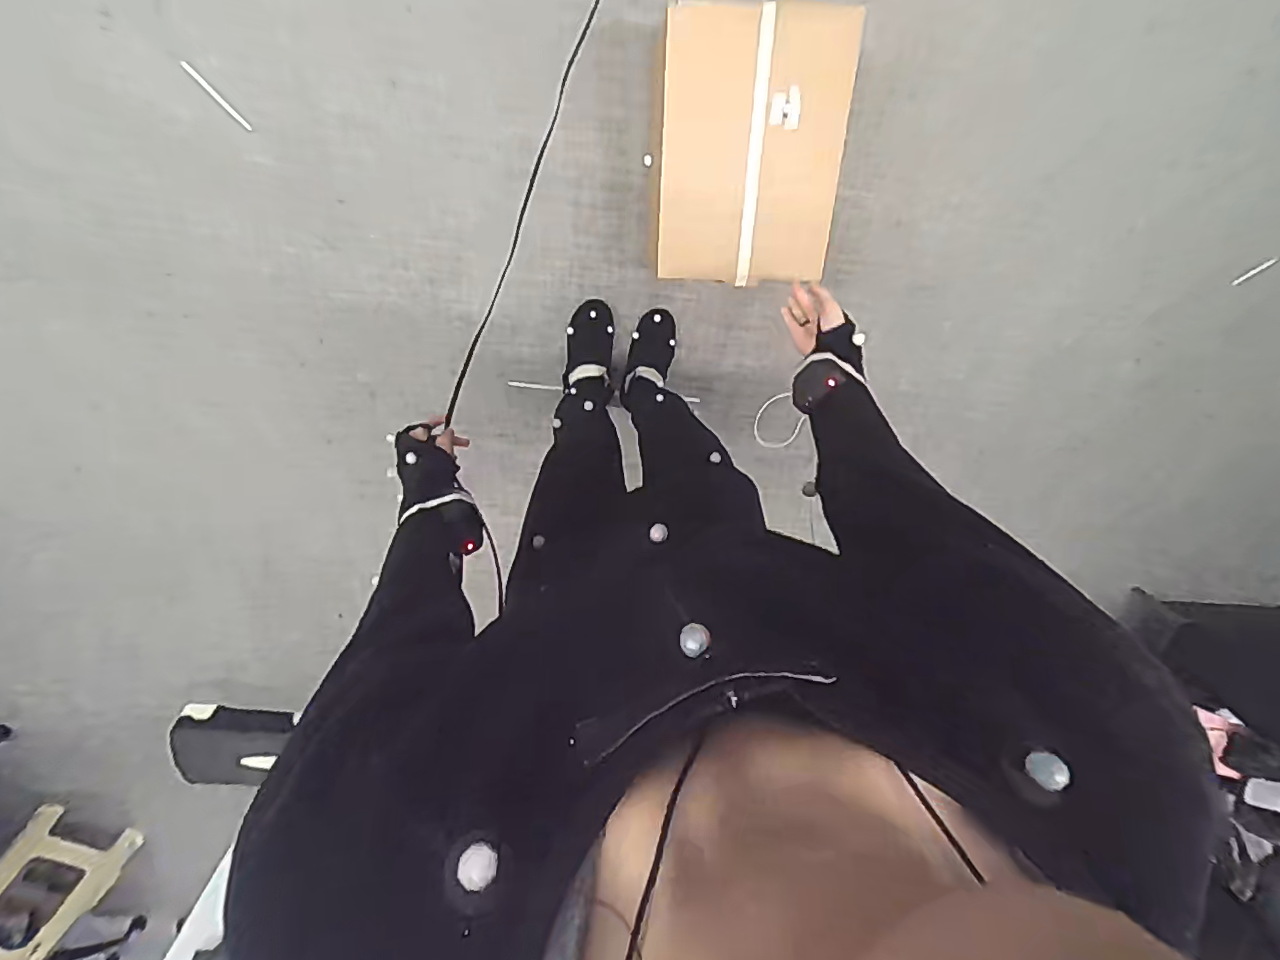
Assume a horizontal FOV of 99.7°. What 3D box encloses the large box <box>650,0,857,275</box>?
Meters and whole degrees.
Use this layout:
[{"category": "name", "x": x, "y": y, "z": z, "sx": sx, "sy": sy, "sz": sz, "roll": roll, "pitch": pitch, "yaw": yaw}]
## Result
[{"category": "large box", "x": 0.182, "y": -0.626, "z": 1.060, "sx": 0.320, "sy": 0.320, "sz": 0.408, "roll": 0, "pitch": 115, "yaw": -4}]
